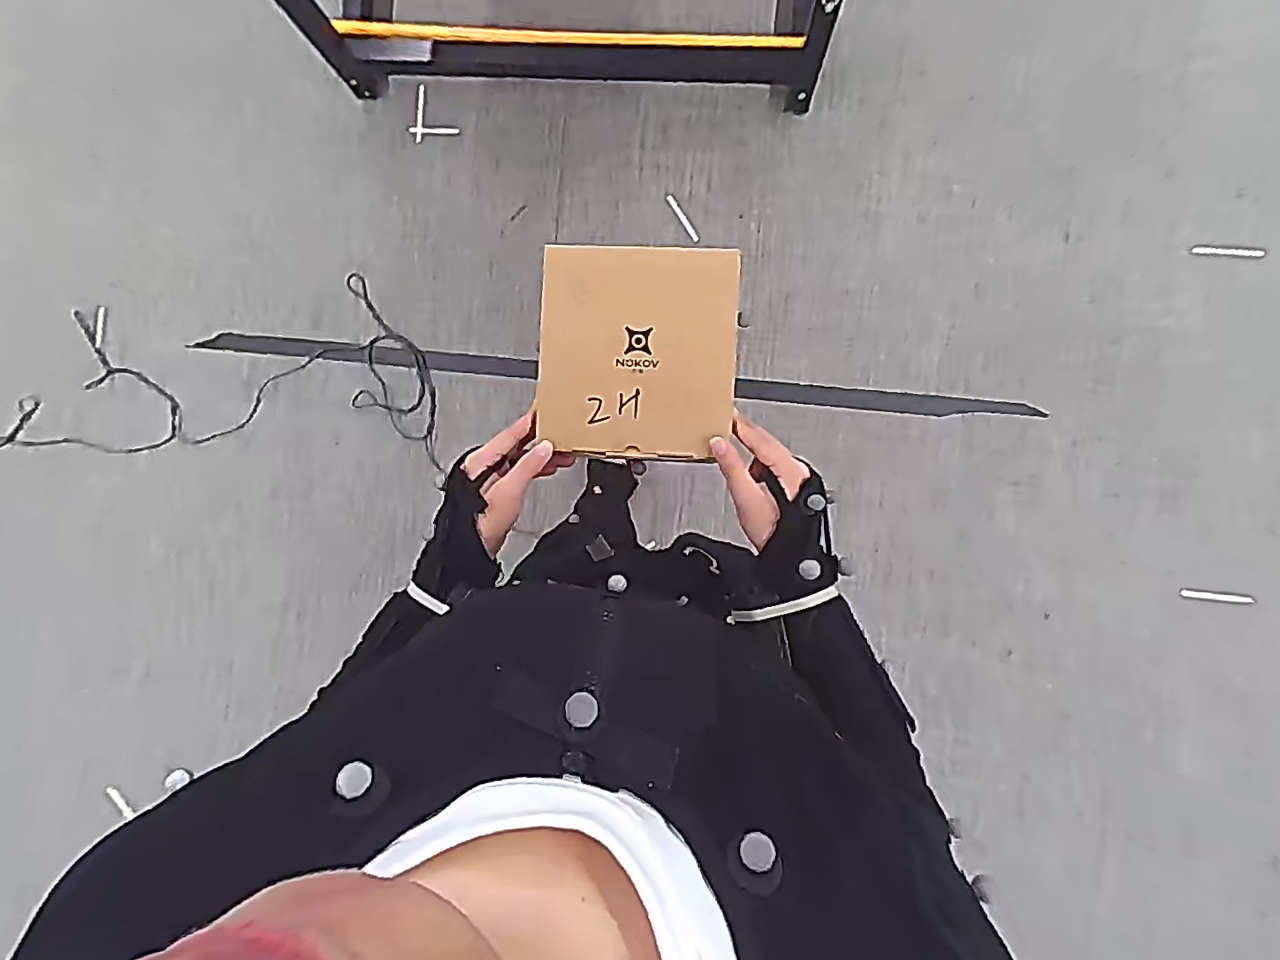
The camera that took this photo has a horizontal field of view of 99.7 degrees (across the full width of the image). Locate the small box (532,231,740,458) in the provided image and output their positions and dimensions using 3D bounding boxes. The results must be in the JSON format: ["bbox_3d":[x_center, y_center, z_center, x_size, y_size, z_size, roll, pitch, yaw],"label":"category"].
[{"bbox_3d":[0.000,-0.117,0.528,0.168,0.176,0.179,3,91,4],"label":"small box"}]

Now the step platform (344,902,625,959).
[{"bbox_3d":[-0.381,1.265,1.293,0.684,0.204,0.286,5,90,4],"label":"step platform"}]
